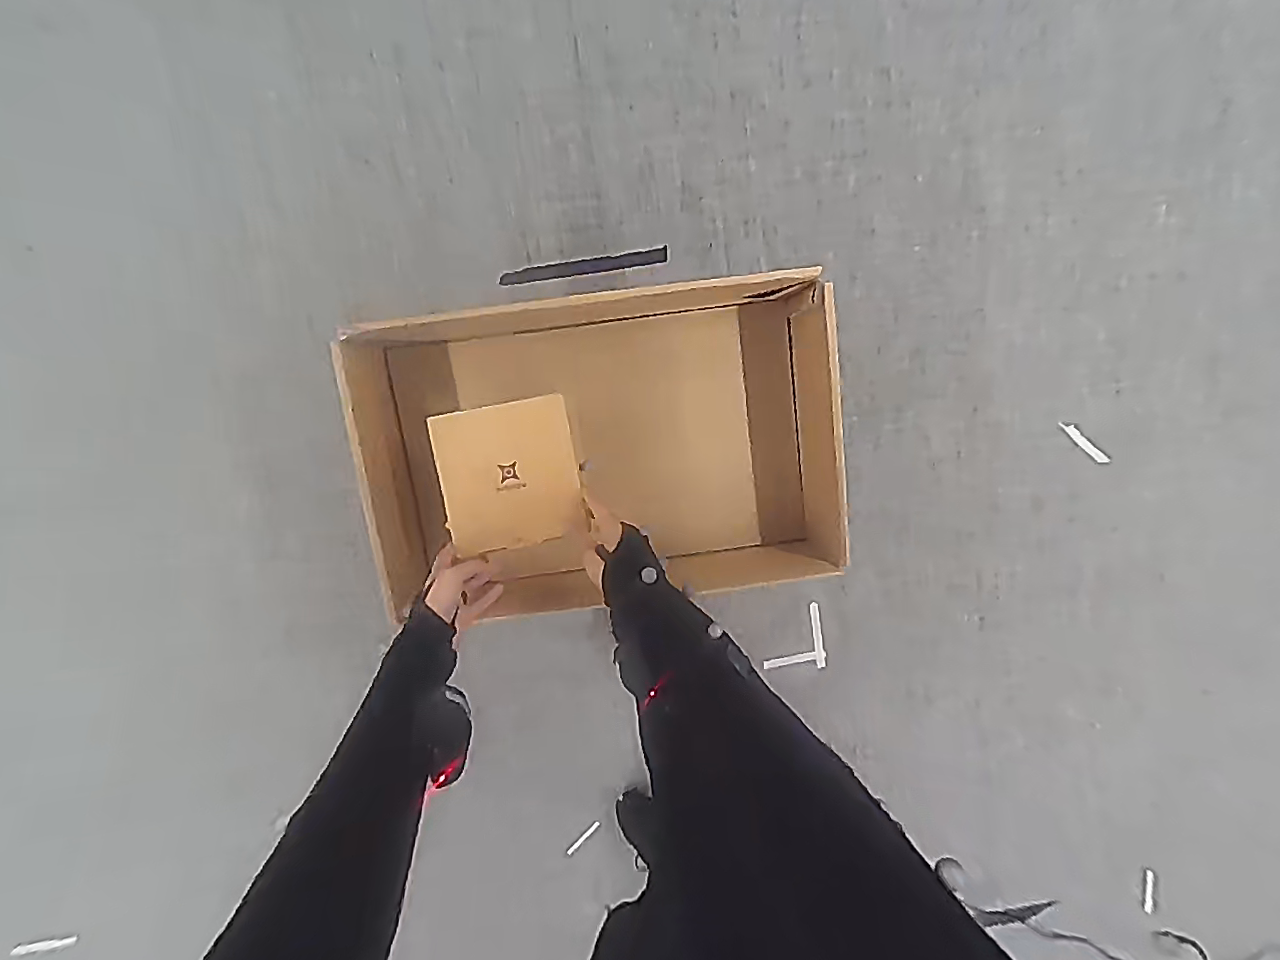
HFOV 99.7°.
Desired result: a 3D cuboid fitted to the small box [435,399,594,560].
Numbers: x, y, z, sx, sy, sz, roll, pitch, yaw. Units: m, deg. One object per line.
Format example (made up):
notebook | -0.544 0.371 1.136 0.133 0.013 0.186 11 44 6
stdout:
small box | -0.157 -0.007 0.733 0.168 0.176 0.179 -10 97 -3
